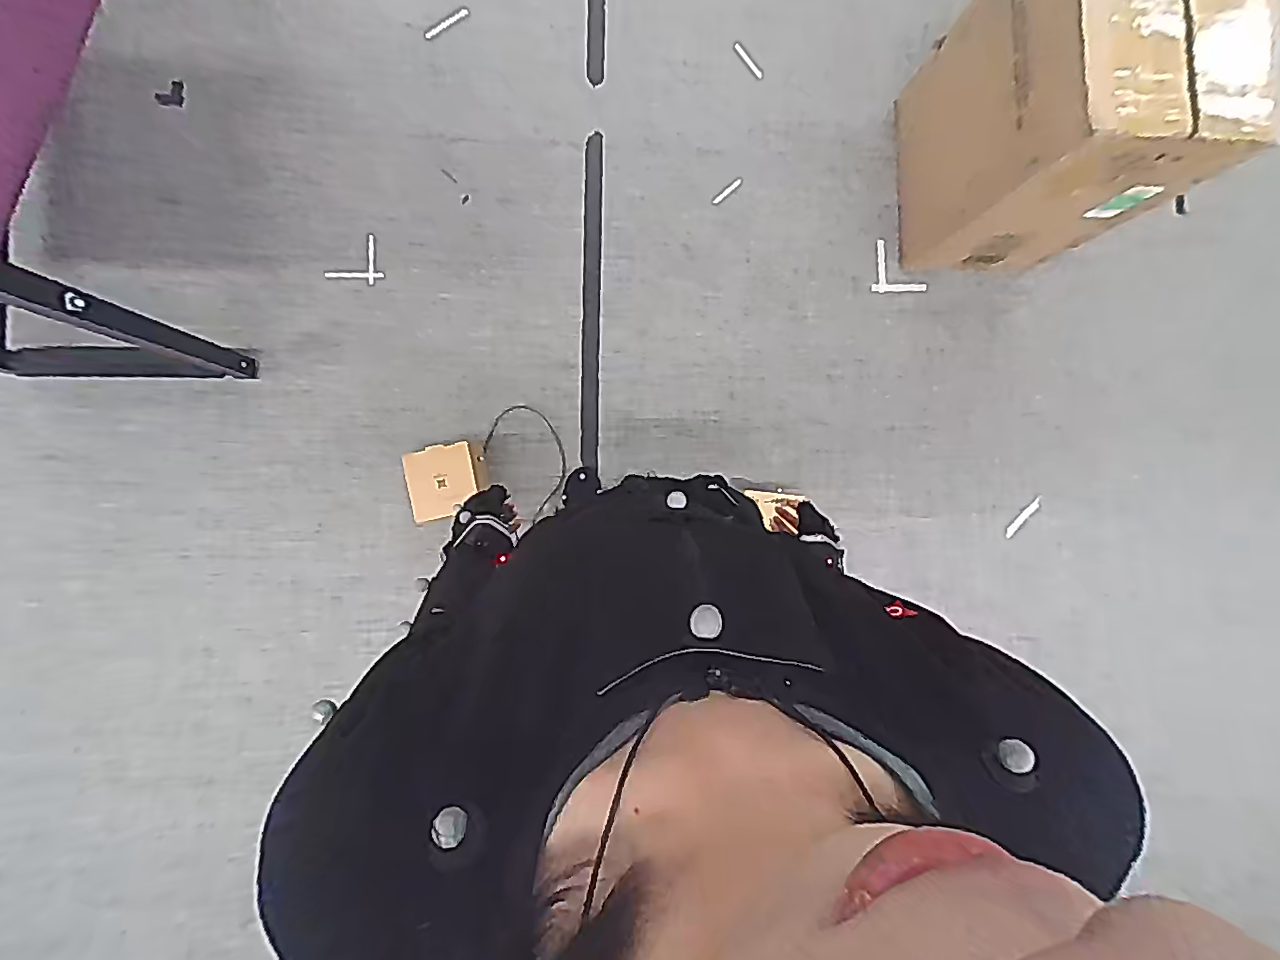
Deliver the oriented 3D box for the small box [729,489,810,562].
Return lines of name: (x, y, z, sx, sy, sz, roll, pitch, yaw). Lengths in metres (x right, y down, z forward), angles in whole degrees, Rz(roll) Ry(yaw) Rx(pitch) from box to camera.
small box: (0.347, 0.119, 1.473, 0.168, 0.176, 0.179, 6, 89, -4)

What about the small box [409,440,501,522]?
small box: (-0.474, 0.004, 1.410, 0.168, 0.176, 0.179, -13, 91, -2)
